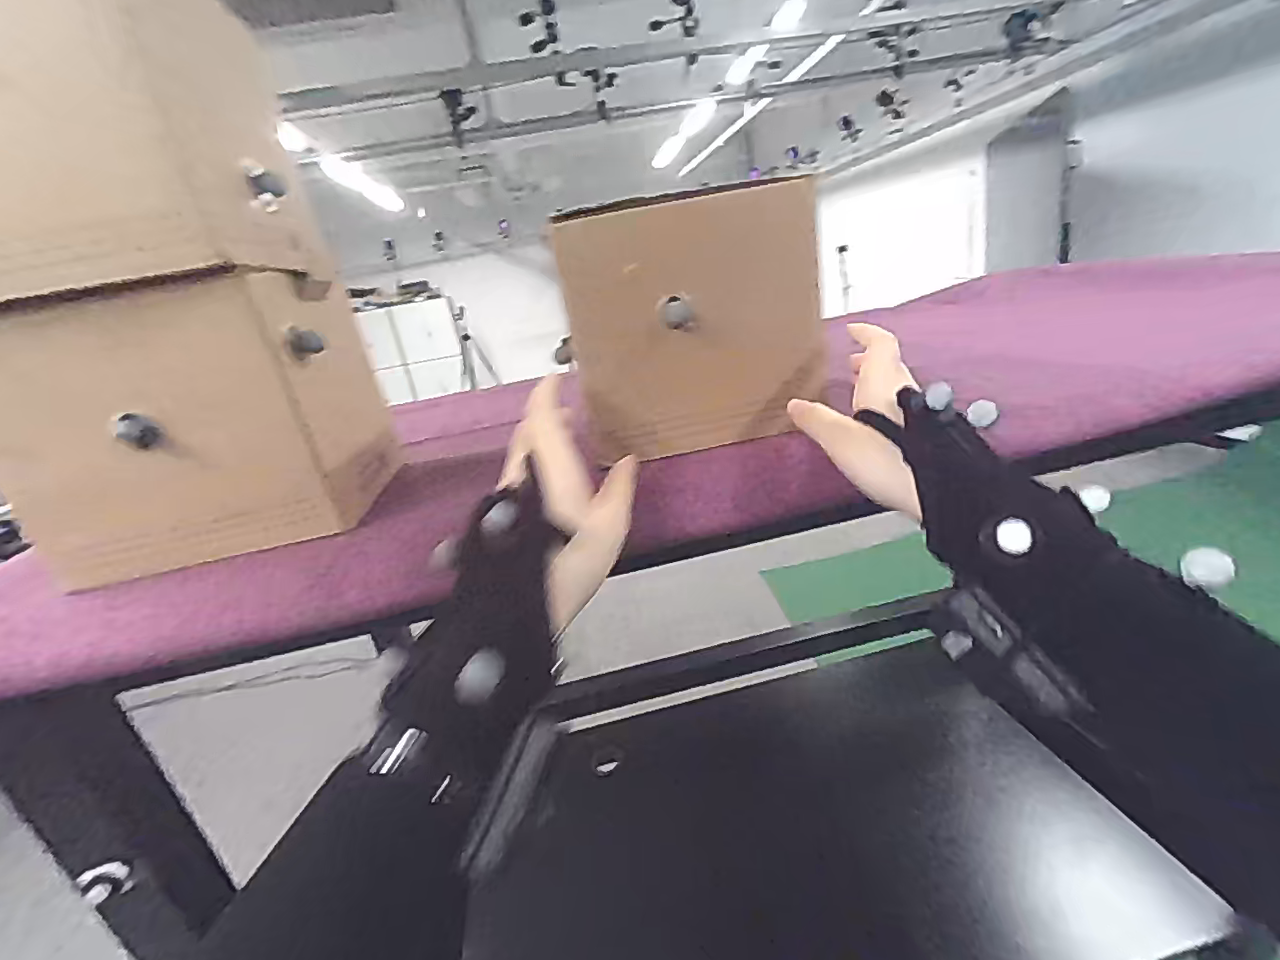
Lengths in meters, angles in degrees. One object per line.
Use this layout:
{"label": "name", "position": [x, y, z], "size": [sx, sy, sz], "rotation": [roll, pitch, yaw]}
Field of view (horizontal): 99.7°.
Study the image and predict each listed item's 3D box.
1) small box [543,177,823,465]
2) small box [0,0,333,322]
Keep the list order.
{"label": "small box", "position": [0.030, -0.121, 0.438], "size": [0.179, 0.176, 0.168], "rotation": [-12, 21, -3]}
{"label": "small box", "position": [-0.328, -0.195, 0.327], "size": [0.179, 0.176, 0.168], "rotation": [-12, 21, -6]}
